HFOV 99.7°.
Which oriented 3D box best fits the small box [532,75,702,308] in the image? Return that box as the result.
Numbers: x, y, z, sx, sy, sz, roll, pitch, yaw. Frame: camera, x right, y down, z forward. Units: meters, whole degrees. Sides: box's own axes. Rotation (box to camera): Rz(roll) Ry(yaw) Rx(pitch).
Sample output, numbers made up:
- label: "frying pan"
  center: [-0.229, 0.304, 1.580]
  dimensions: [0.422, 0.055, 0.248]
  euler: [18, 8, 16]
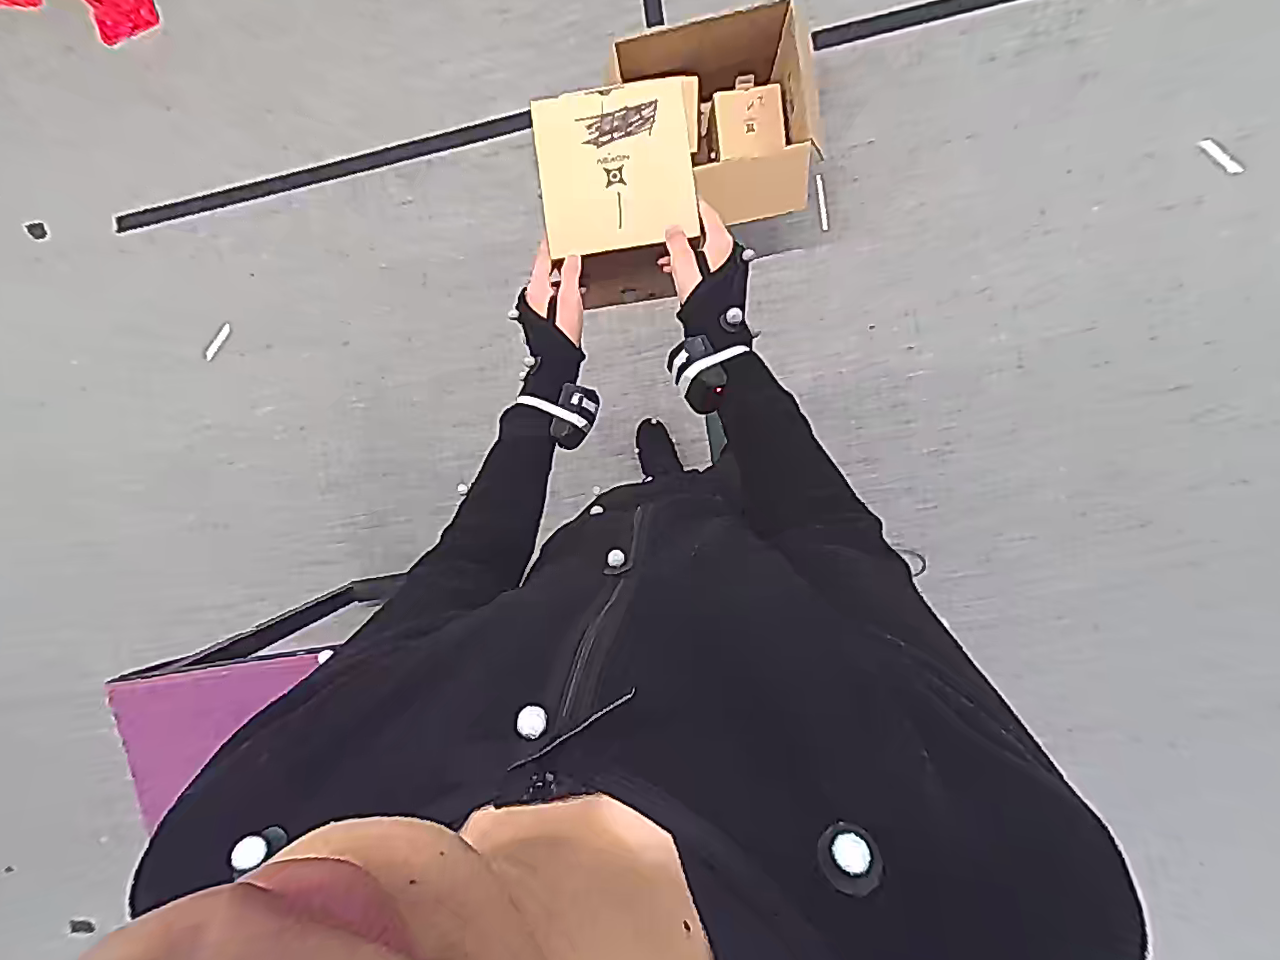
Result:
- label: "small box"
  center: [-0.021, -0.329, 0.649]
  dimensions: [0.168, 0.176, 0.179]
  euler: [-8, 89, 4]
